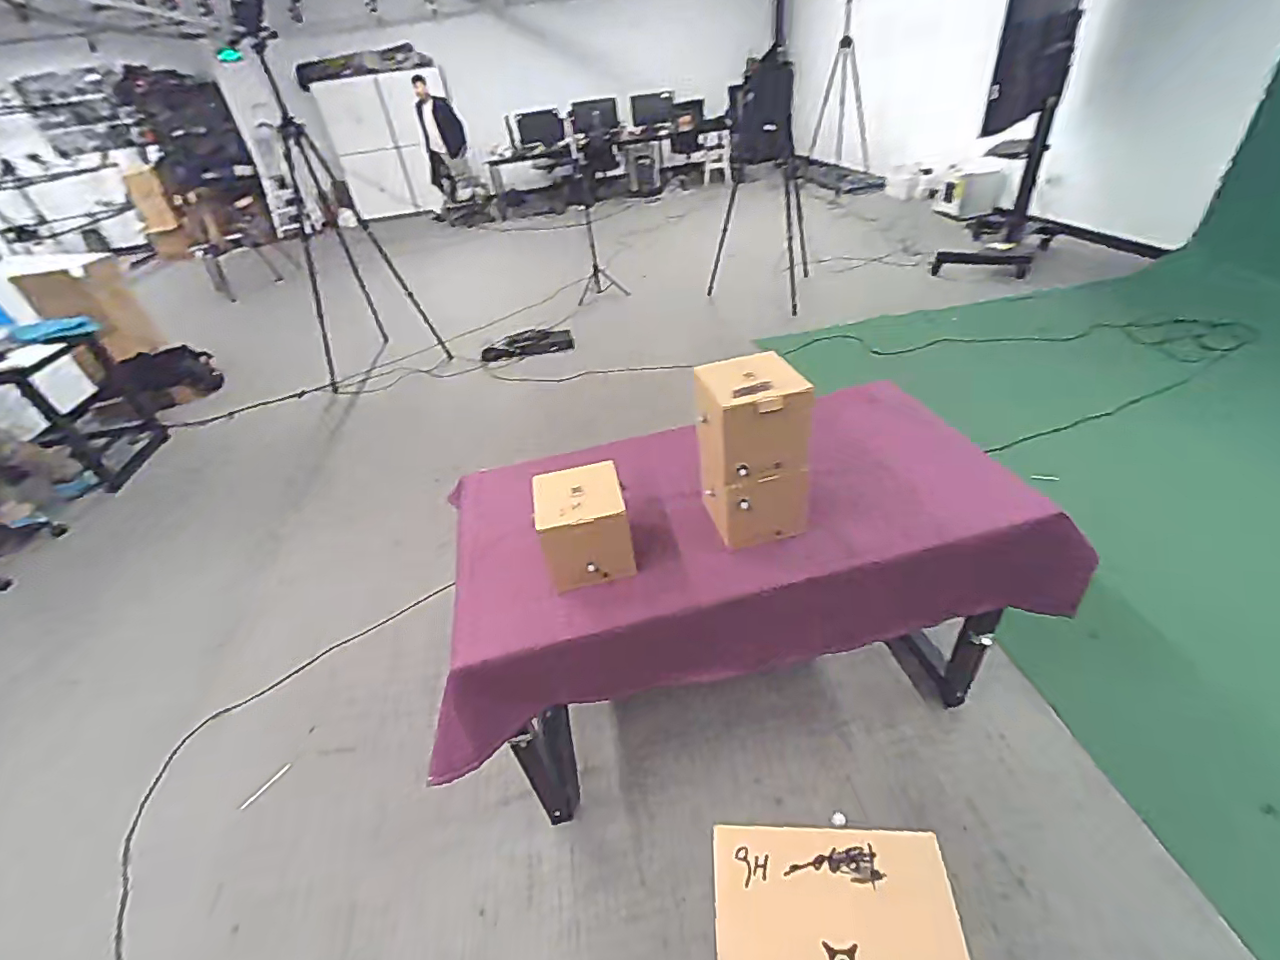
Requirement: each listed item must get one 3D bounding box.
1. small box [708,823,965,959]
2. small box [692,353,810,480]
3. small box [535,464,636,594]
[{"bbox_3d":[0.142,0.379,0.413,0.168,0.176,0.179,-4,48,7],"label":"small box"},{"bbox_3d":[0.206,-0.115,1.022,0.168,0.176,0.179,-13,35,-6],"label":"small box"},{"bbox_3d":[-0.109,0.097,1.080,0.168,0.176,0.179,-13,37,-5],"label":"small box"}]
